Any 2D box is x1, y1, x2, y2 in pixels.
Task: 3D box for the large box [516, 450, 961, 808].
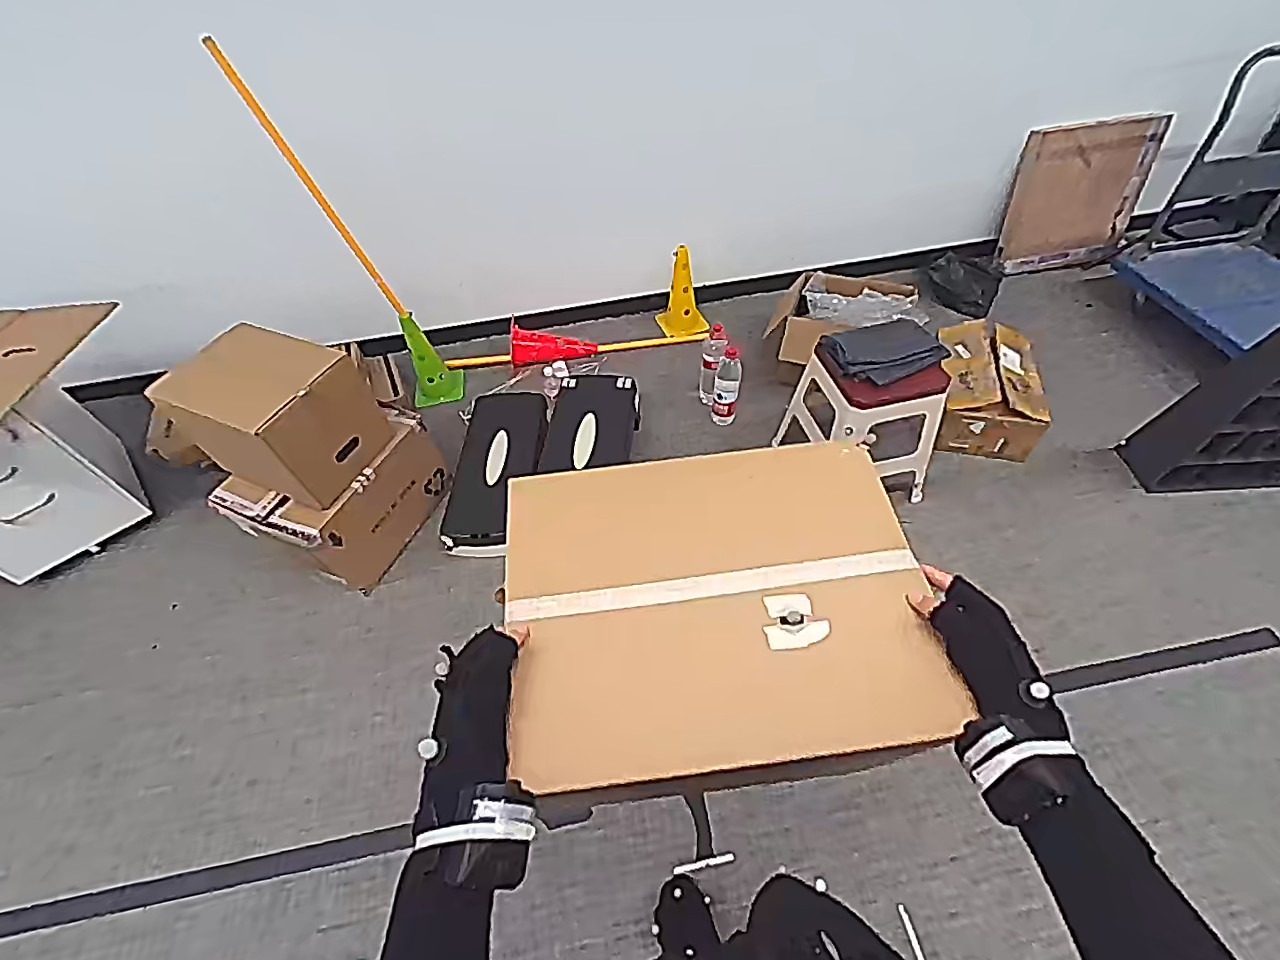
[{"bbox_3d":[0.076,0.197,0.675,0.408,0.320,0.320,-7,58,-2],"label":"large box"}]
